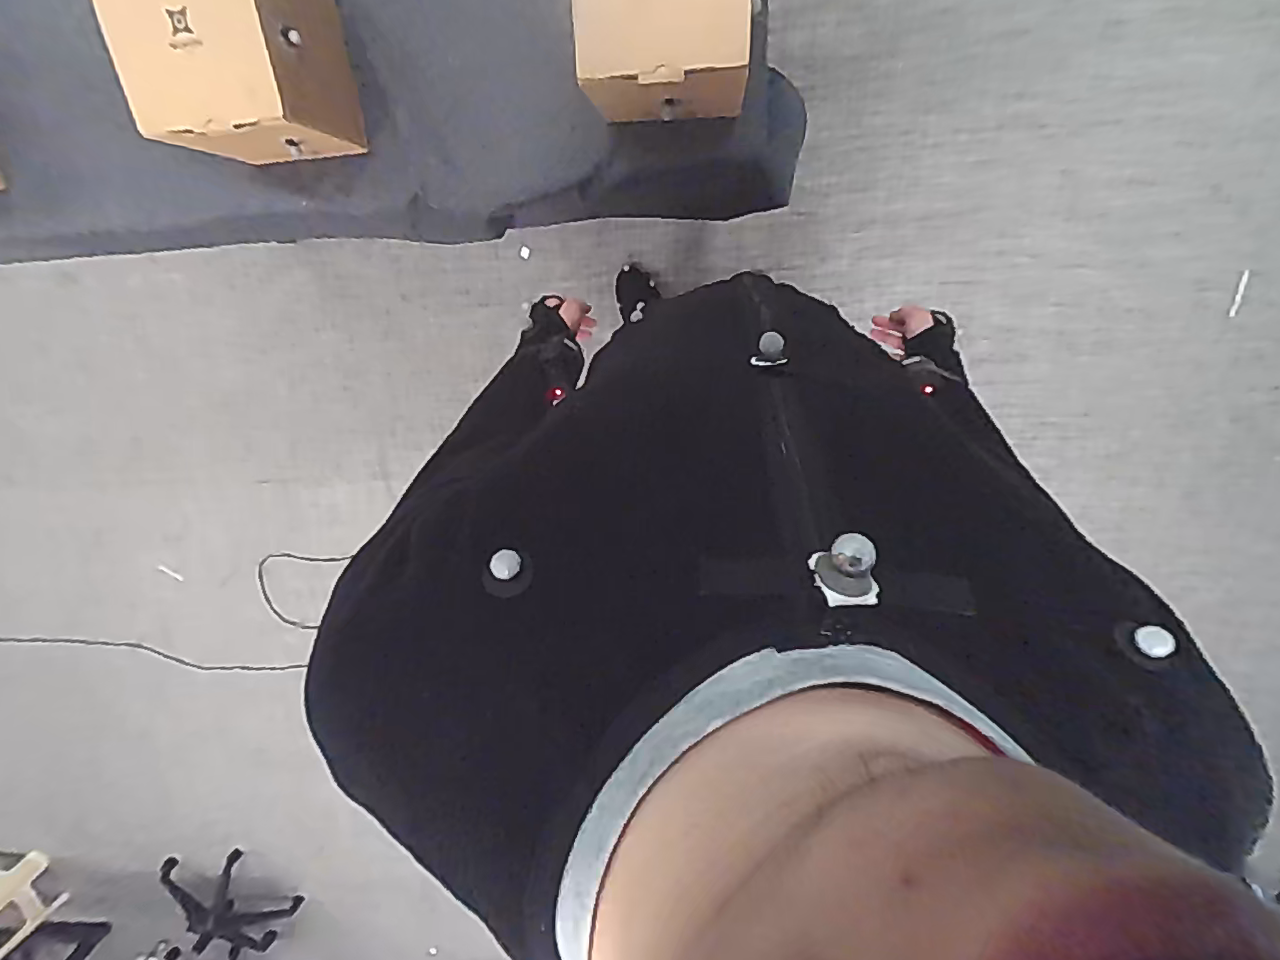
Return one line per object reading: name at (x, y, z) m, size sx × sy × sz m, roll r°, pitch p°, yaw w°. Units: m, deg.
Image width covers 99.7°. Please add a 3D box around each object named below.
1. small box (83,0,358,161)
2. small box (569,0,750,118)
small box at (-0.444, -0.466, 0.594) m, size 0.168 × 0.176 × 0.179 m, roll -3°, pitch 110°, yaw 4°
small box at (0.026, -0.482, 0.543) m, size 0.168 × 0.176 × 0.179 m, roll 1°, pitch 111°, yaw 7°
